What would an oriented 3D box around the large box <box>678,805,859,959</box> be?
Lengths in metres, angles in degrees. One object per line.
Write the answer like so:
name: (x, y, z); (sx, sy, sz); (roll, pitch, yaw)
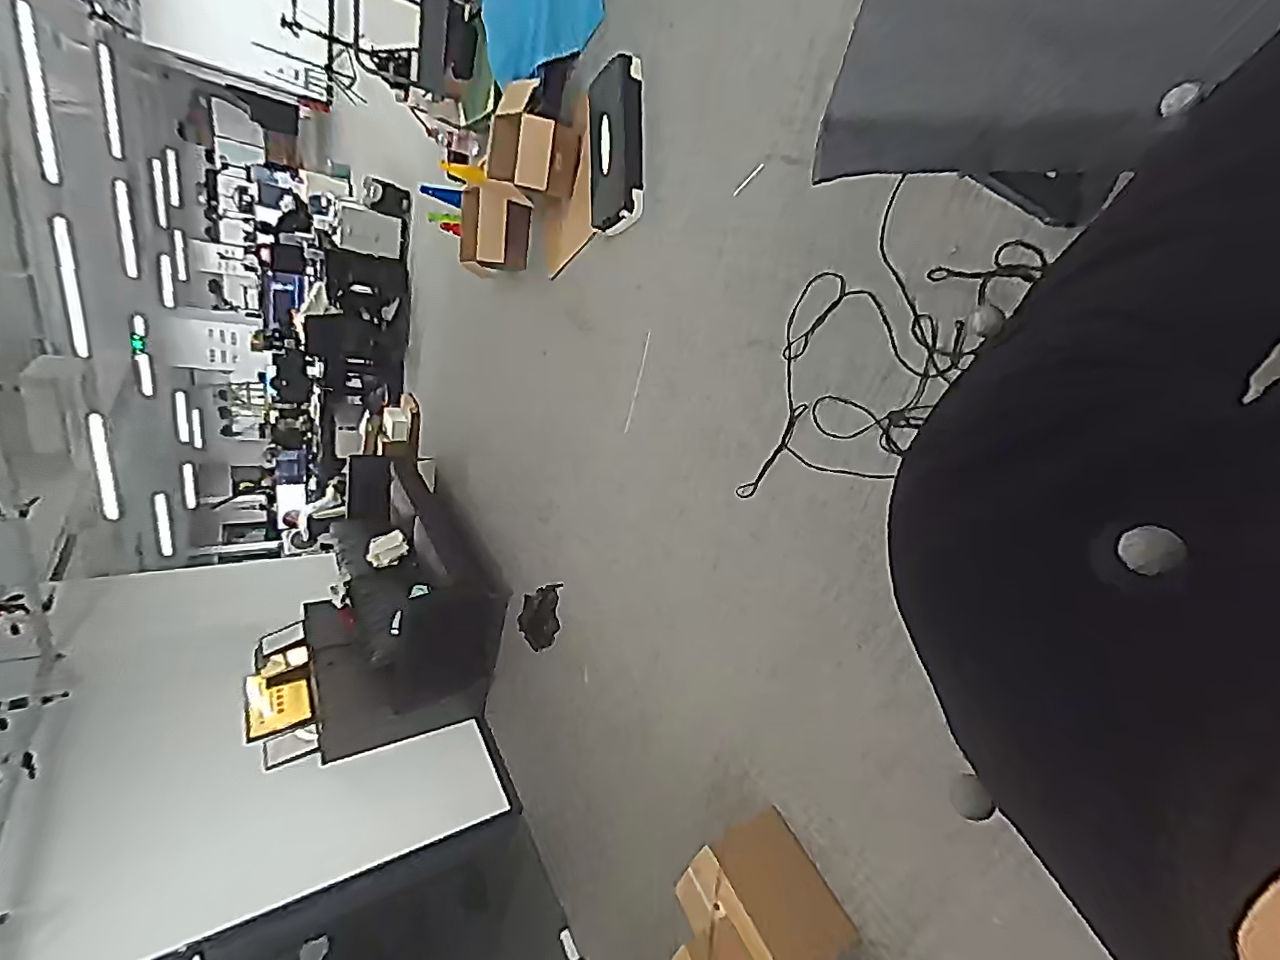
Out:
large box: (0.390, 1.348, 1.706); (0.408, 0.320, 0.320); (50, 130, 42)
